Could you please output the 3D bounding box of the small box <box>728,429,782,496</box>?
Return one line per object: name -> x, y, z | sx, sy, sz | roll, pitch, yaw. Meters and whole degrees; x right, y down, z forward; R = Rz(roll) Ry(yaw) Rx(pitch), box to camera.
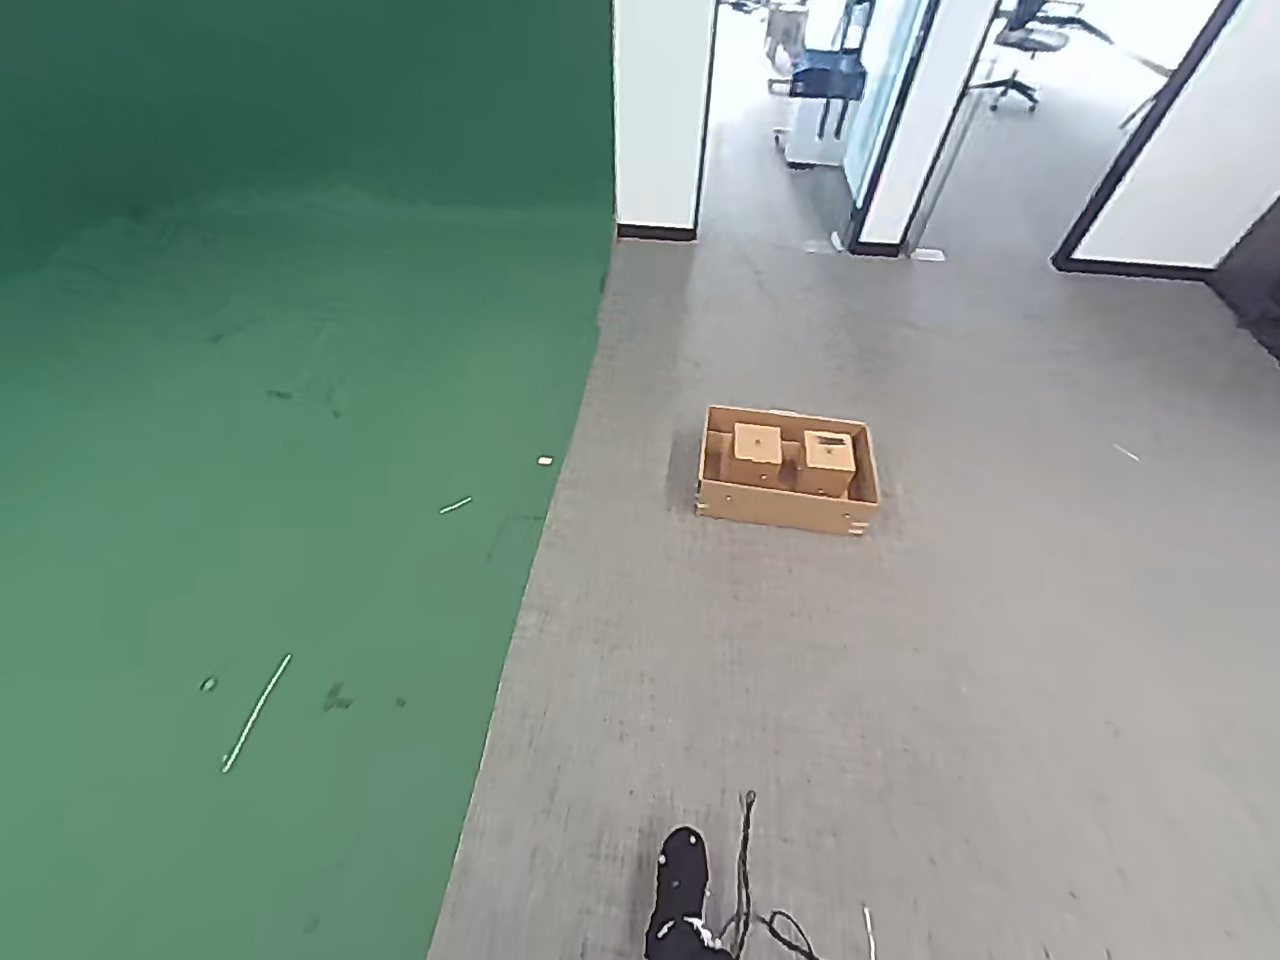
small box -> 0.420, -0.062, 1.987 | 0.168, 0.176, 0.179 | 8, 50, 2
